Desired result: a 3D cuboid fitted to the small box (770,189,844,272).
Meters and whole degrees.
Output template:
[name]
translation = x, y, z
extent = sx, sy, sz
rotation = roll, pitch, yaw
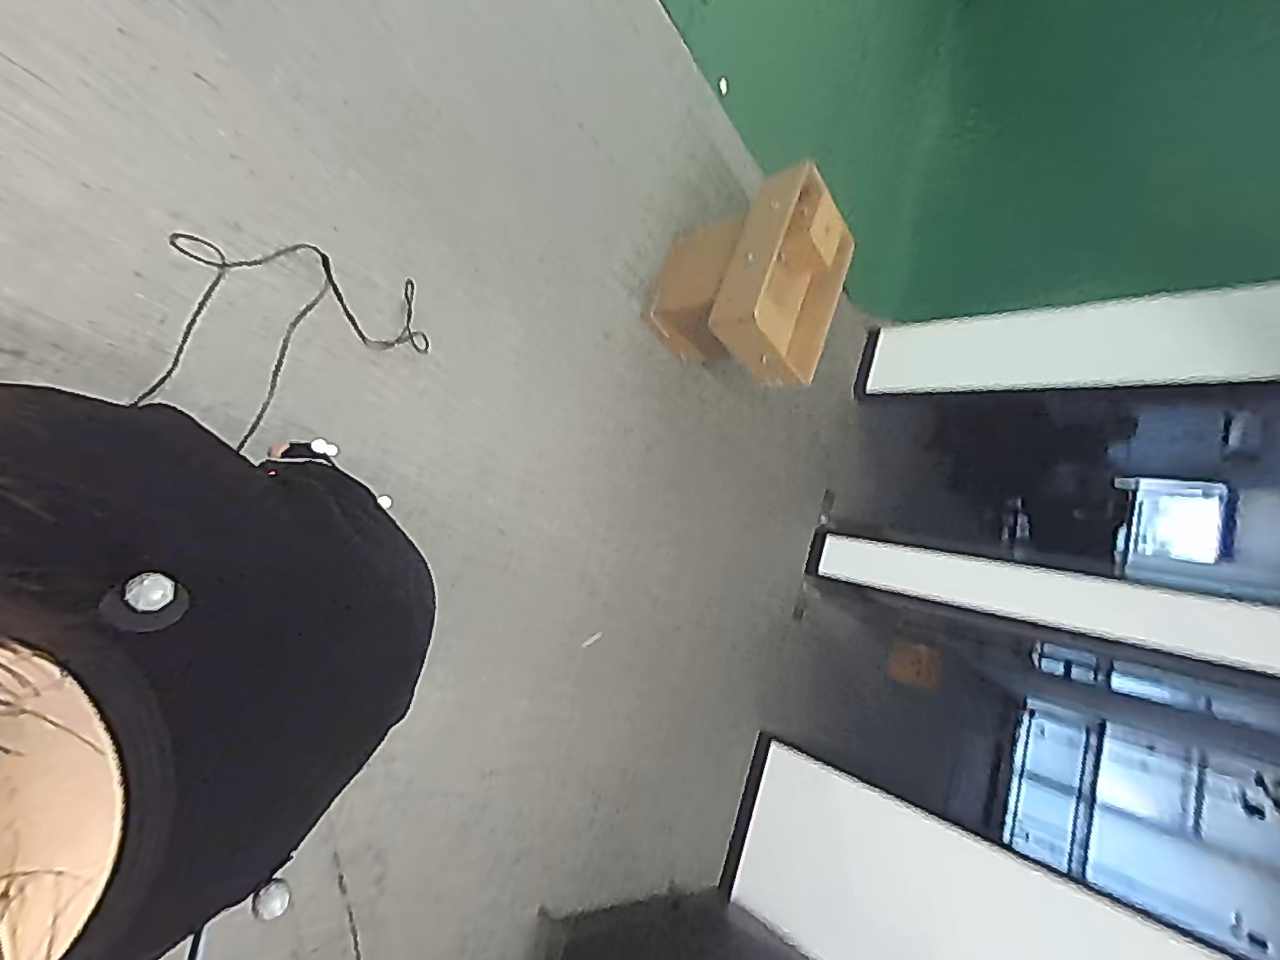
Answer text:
[small box]
translation = 0.568, -0.843, 1.843
extent = 0.168, 0.176, 0.179
rotation = 34, 70, -40
